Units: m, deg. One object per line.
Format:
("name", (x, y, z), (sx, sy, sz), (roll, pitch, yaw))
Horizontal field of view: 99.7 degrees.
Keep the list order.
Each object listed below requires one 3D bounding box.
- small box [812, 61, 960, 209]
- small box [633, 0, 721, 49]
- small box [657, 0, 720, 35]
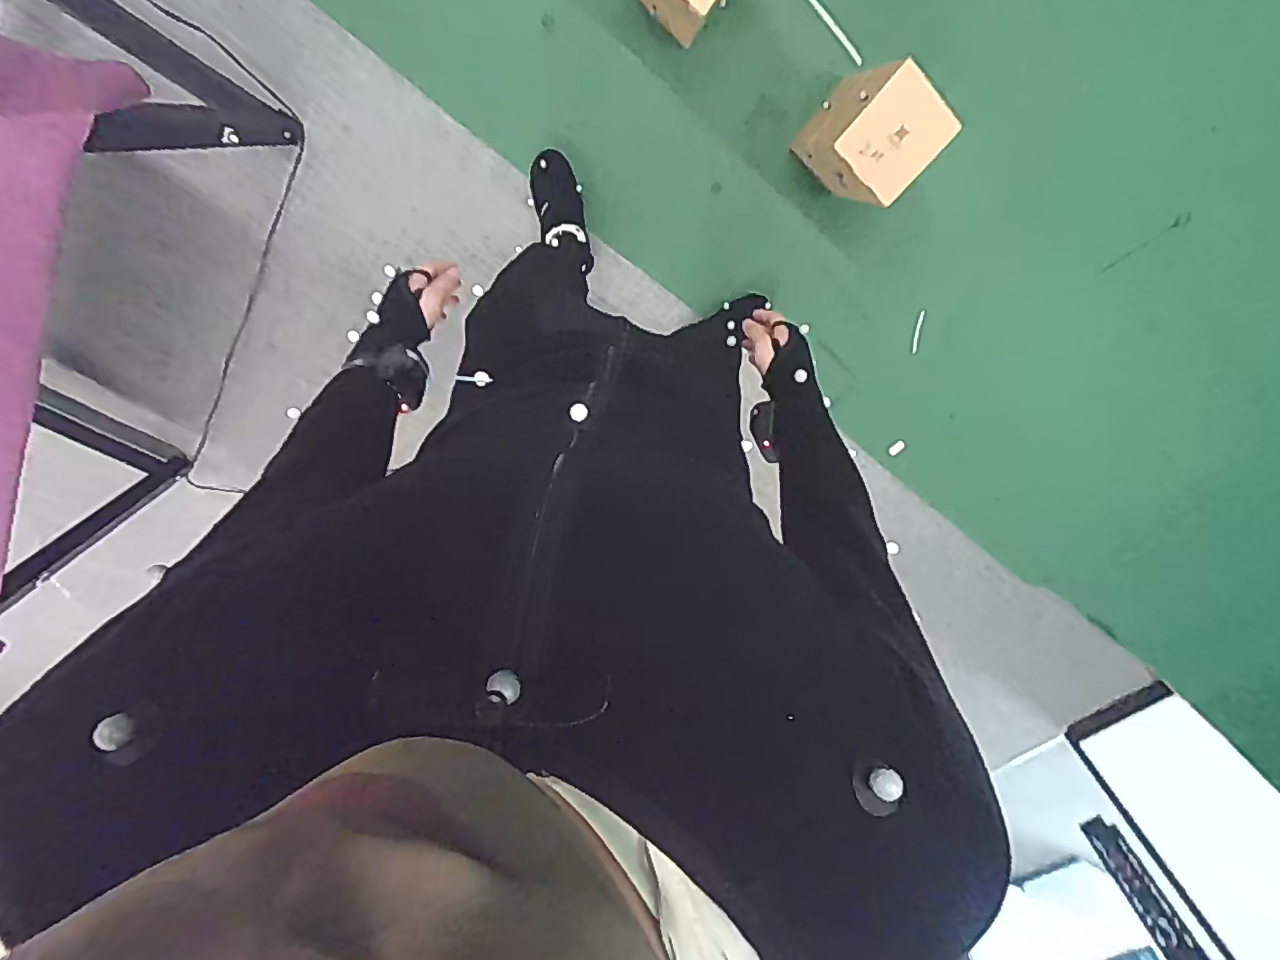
("small box", (0.474, -0.675, 1.069), (0.168, 0.176, 0.179), (34, 116, -20))
("small box", (0.089, -0.998, 1.059), (0.168, 0.176, 0.179), (33, 116, -19))
("small box", (0.091, -0.912, 0.920), (0.168, 0.176, 0.179), (33, 115, -19))
